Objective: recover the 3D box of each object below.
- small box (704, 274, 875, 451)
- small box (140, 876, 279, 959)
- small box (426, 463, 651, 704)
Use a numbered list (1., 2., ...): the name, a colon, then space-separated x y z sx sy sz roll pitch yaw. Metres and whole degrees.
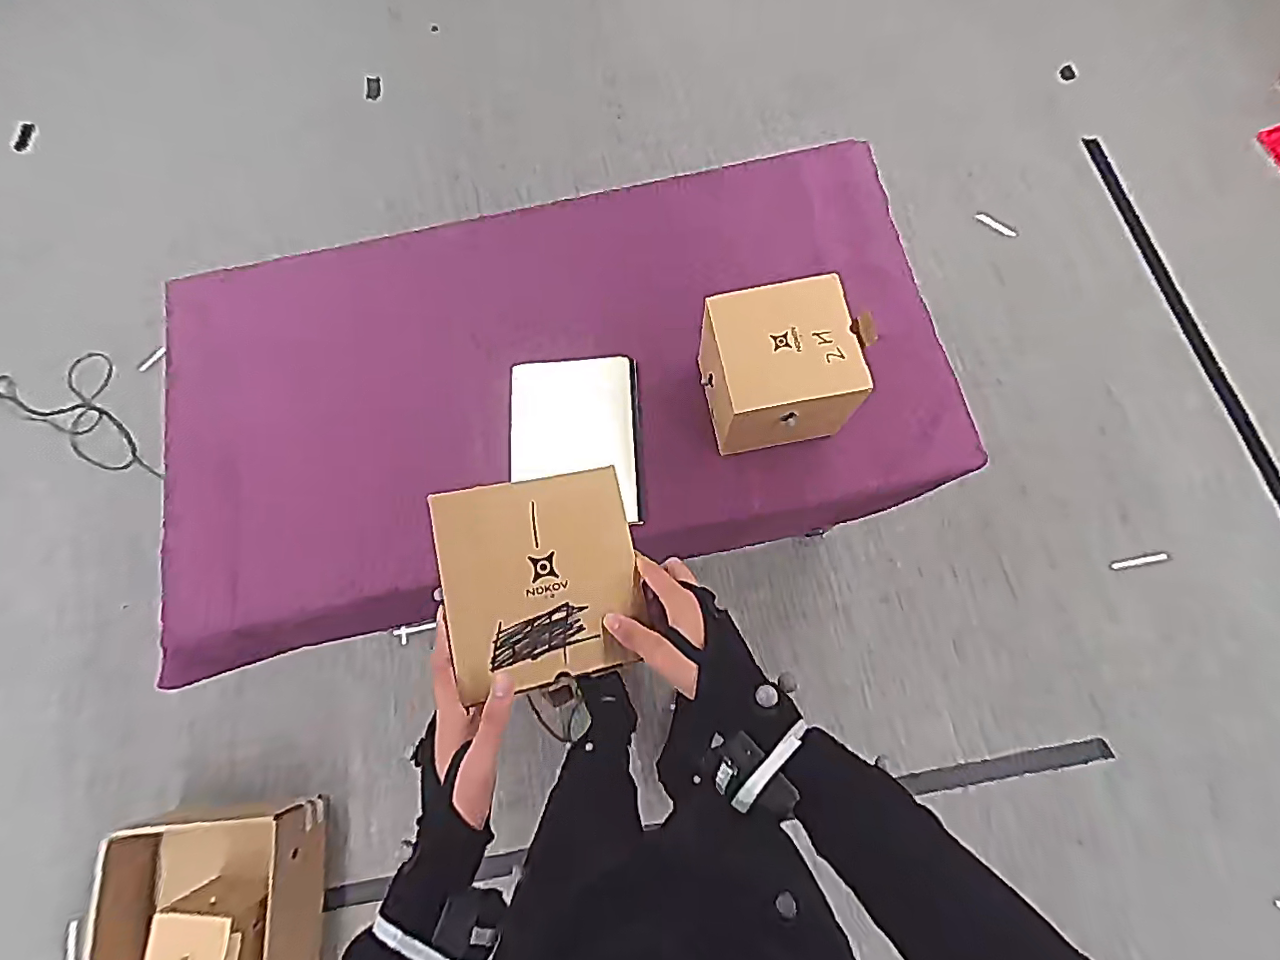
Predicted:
1. small box: 0.186 -0.149 0.740 0.179 0.176 0.168 -10 75 0
2. small box: -0.940 1.003 1.188 0.179 0.176 0.168 2 76 3
3. small box: -0.100 0.097 0.528 0.168 0.176 0.179 -9 78 -15
